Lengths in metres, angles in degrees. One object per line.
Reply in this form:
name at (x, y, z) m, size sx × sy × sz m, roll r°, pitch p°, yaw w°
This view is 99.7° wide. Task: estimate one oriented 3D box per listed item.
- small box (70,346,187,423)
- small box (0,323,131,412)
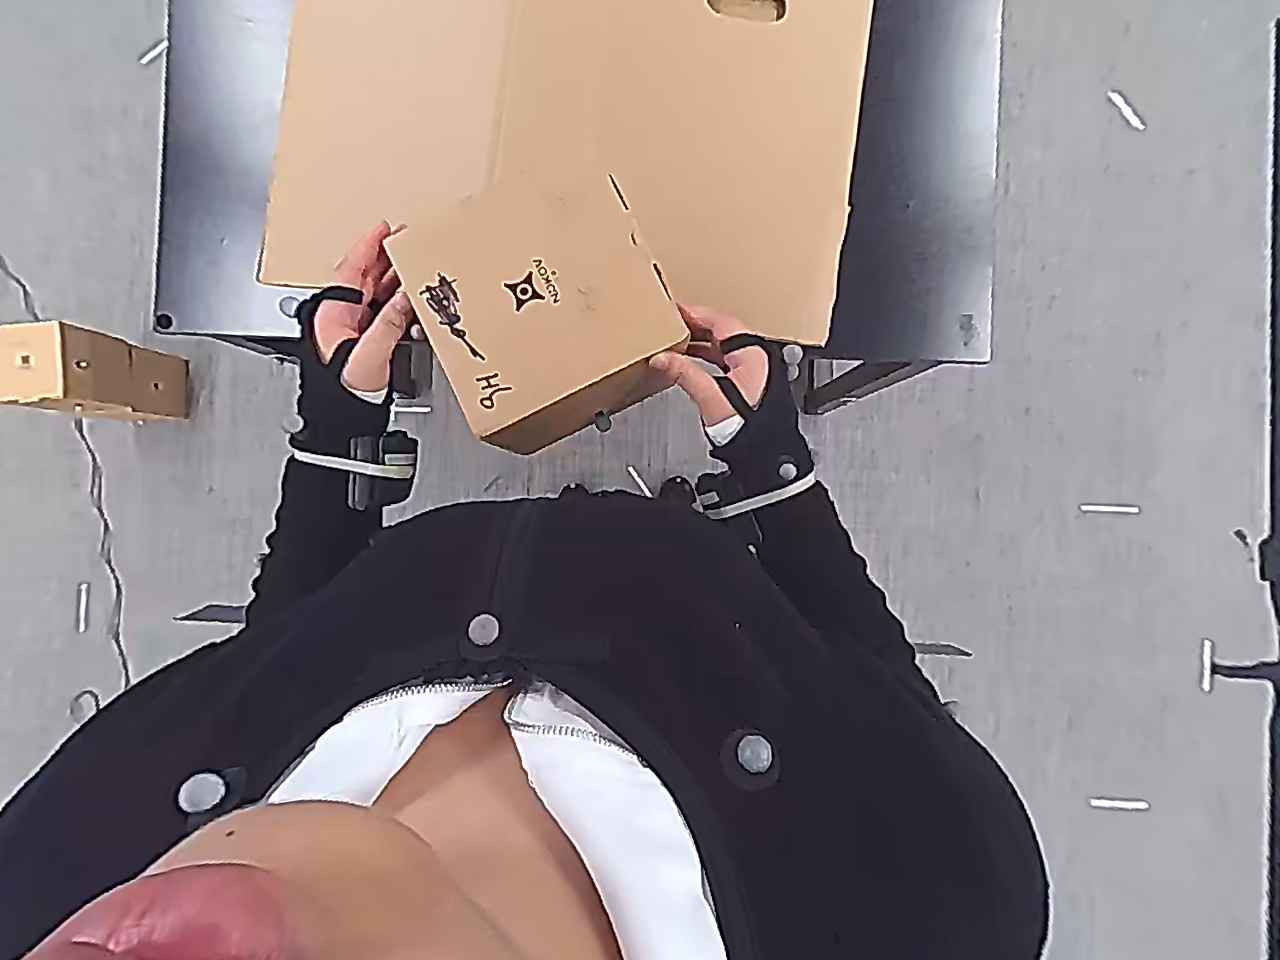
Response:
small box at (-1.367, -0.251, 1.453) m, size 0.168 × 0.176 × 0.179 m, roll -2°, pitch 90°, yaw 1°
small box at (-1.370, -0.260, 1.290) m, size 0.168 × 0.176 × 0.179 m, roll -4°, pitch 88°, yaw 0°
